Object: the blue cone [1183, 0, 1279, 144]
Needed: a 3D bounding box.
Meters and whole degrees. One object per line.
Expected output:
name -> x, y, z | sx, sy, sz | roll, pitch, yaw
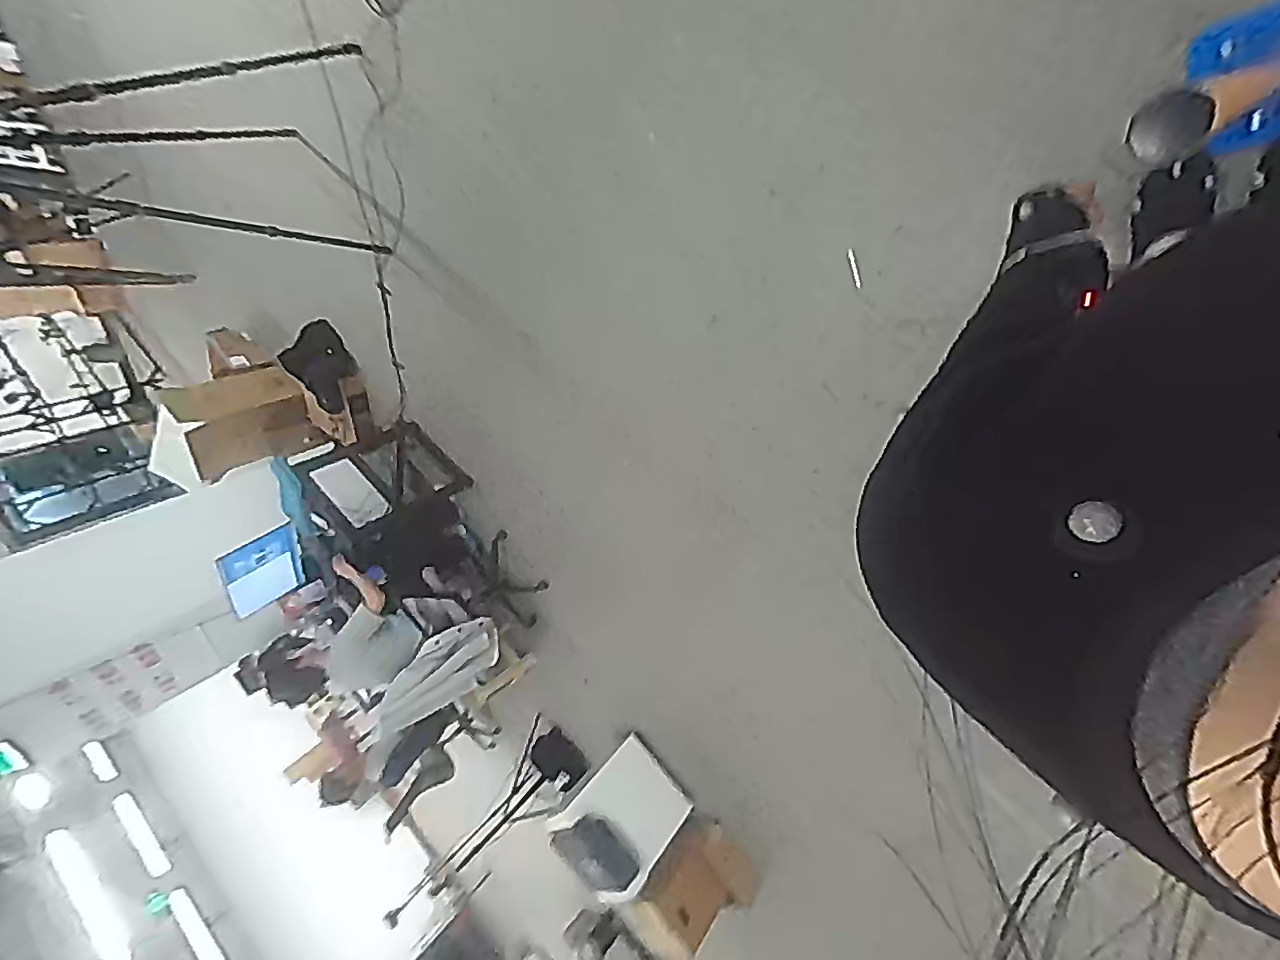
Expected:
blue cone -> 0.901, -0.594, 0.759 | 0.193, 0.380, 0.192 | 1, 117, 44
